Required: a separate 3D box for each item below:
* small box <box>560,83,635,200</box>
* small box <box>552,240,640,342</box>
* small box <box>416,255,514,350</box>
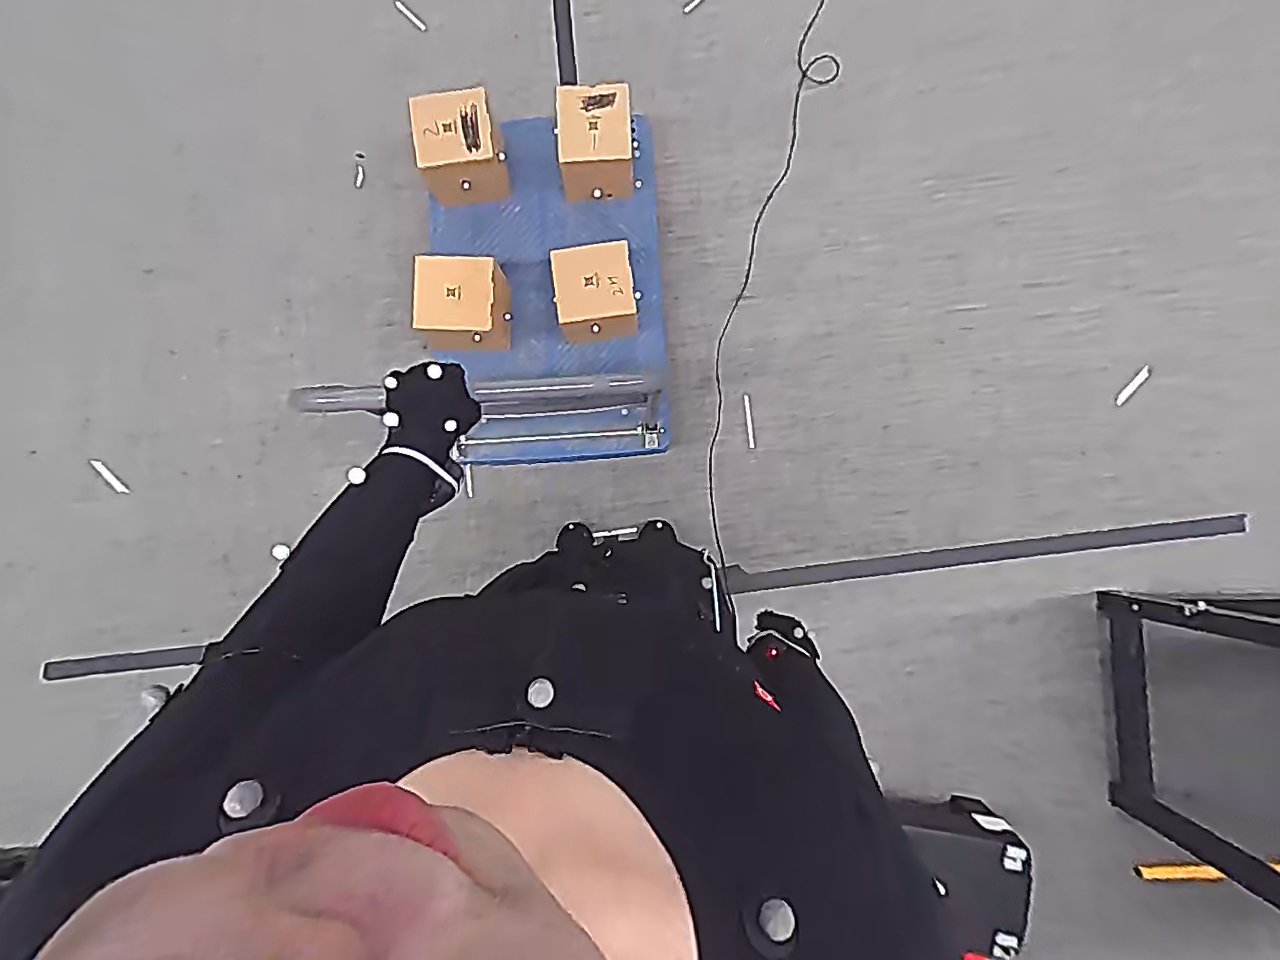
[{"bbox_3d":[-0.097,-0.795,1.282,0.168,0.176,0.179,-3,89,1],"label":"small box"},{"bbox_3d":[-0.096,-0.433,1.267,0.179,0.176,0.168,-8,88,1],"label":"small box"},{"bbox_3d":[-0.405,-0.409,1.271,0.179,0.176,0.168,1,87,-1],"label":"small box"}]
